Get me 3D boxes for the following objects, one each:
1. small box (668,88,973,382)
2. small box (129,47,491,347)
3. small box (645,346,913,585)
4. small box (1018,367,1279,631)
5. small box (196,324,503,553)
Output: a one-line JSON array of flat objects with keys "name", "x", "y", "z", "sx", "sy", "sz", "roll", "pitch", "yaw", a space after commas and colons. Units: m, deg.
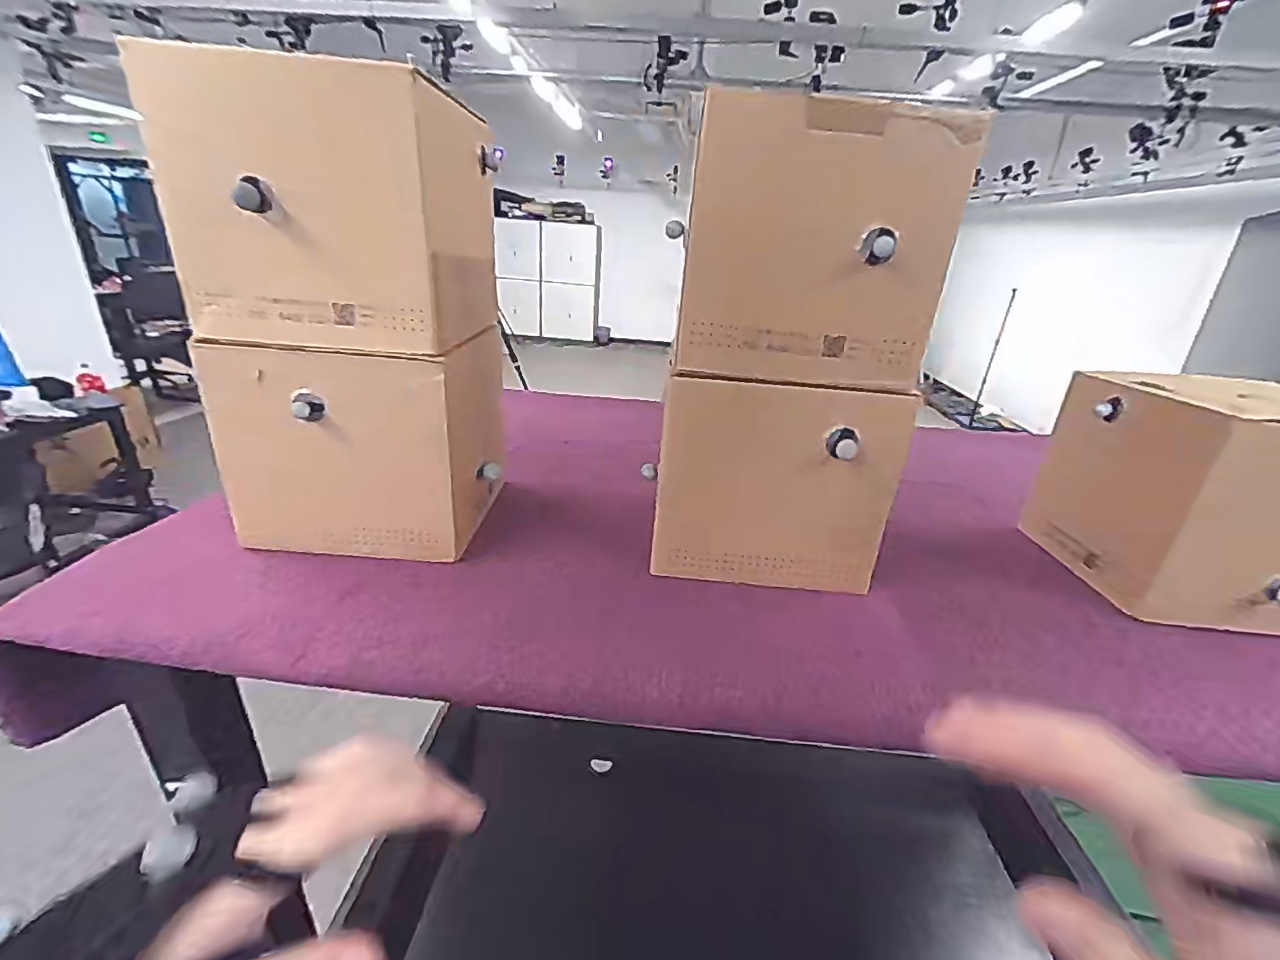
[{"name": "small box", "x": 0.113, "y": -0.177, "z": 0.420, "sx": 0.168, "sy": 0.176, "sz": 0.179, "roll": 6, "pitch": 23, "yaw": 2}, {"name": "small box", "x": -0.216, "y": -0.200, "z": 0.418, "sx": 0.168, "sy": 0.176, "sz": 0.179, "roll": 4, "pitch": 23, "yaw": -2}, {"name": "small box", "x": 0.103, "y": -0.024, "z": 0.476, "sx": 0.179, "sy": 0.176, "sz": 0.168, "roll": 5, "pitch": 22, "yaw": 3}, {"name": "small box", "x": 0.473, "y": 0.010, "z": 0.457, "sx": 0.179, "sy": 0.176, "sz": 0.168, "roll": 5, "pitch": 22, "yaw": 3}, {"name": "small box", "x": -0.228, "y": -0.049, "z": 0.478, "sx": 0.179, "sy": 0.176, "sz": 0.168, "roll": 5, "pitch": 24, "yaw": -1}]
